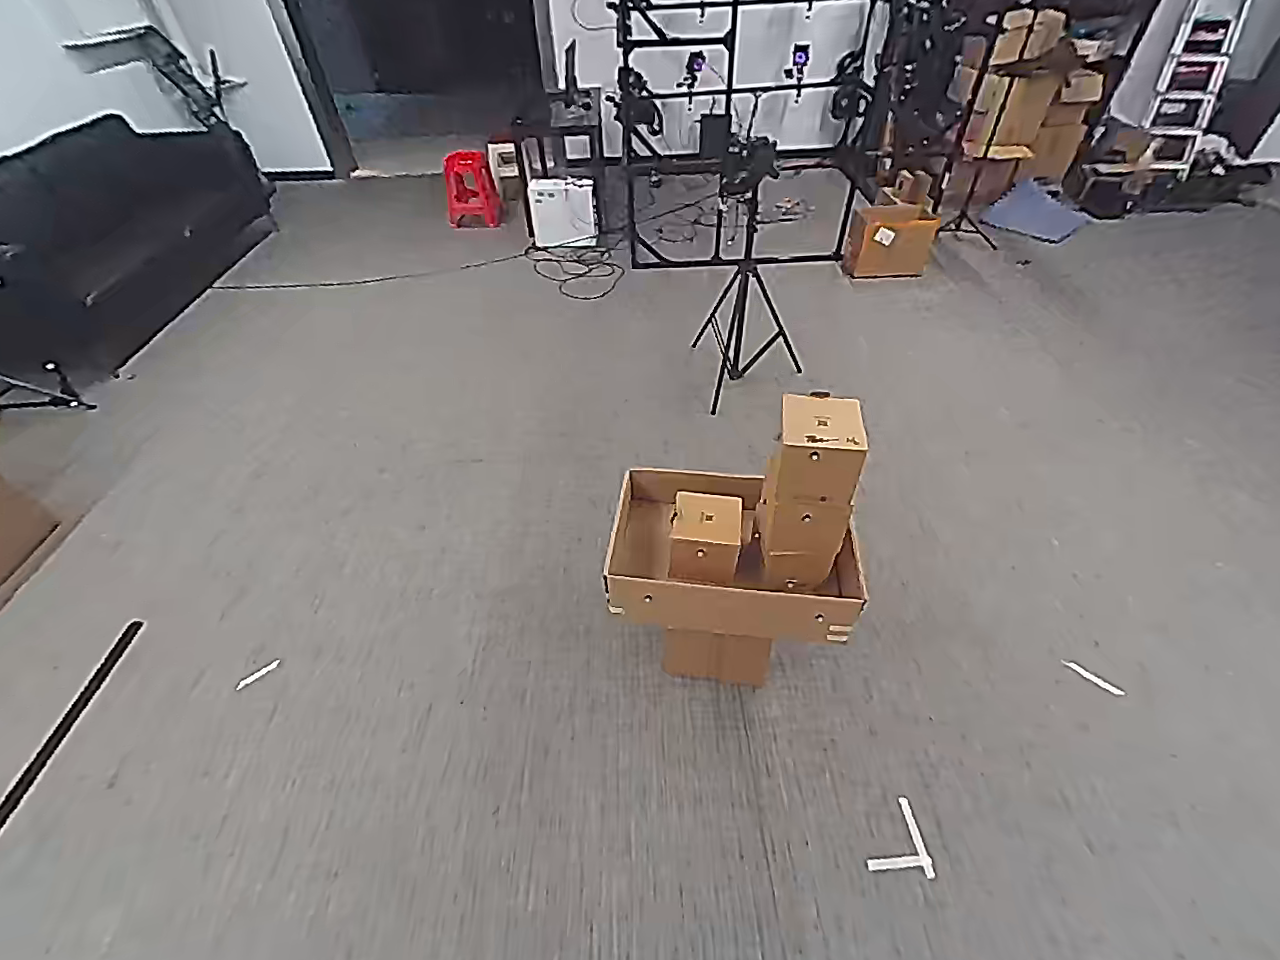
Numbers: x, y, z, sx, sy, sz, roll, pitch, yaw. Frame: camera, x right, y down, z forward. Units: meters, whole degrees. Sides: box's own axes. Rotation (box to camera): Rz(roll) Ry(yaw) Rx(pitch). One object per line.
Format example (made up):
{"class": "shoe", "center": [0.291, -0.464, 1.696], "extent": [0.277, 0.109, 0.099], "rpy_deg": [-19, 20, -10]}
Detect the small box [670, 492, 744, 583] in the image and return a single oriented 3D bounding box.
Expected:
{"class": "small box", "center": [0.175, 0.155, 1.429], "extent": [0.179, 0.176, 0.168], "rpy_deg": [5, 45, 7]}

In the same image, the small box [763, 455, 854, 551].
{"class": "small box", "center": [0.389, 0.055, 1.284], "extent": [0.179, 0.176, 0.168], "rpy_deg": [1, 45, 5]}

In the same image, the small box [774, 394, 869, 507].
{"class": "small box", "center": [0.383, -0.065, 1.172], "extent": [0.168, 0.176, 0.179], "rpy_deg": [5, 44, 10]}
